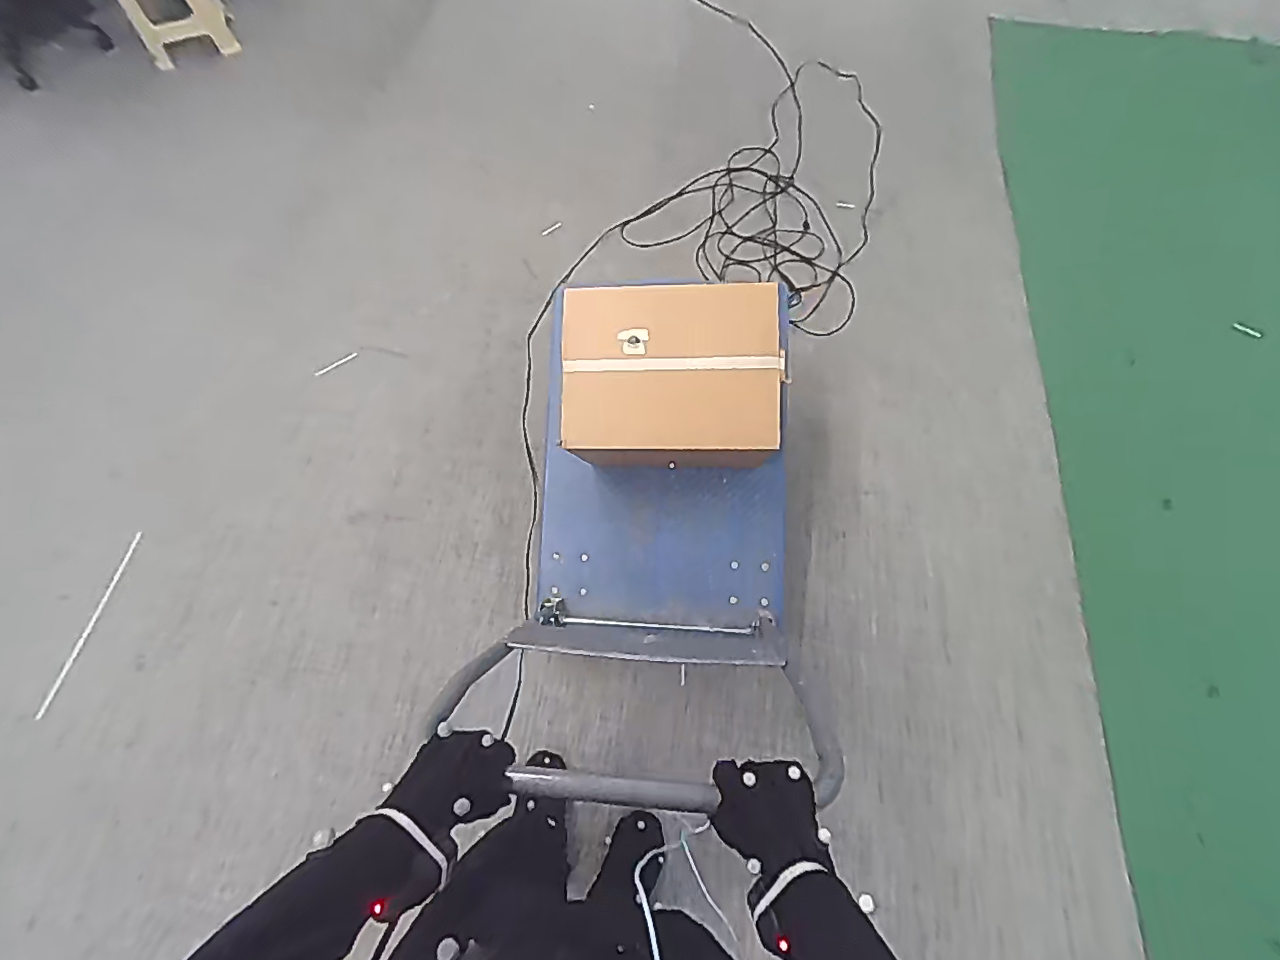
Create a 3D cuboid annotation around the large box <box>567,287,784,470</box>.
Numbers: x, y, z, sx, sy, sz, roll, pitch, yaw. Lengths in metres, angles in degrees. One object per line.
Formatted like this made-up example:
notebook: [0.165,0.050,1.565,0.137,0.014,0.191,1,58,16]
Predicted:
large box: [0.079,-0.188,1.147,0.408,0.320,0.320,0,85,7]
